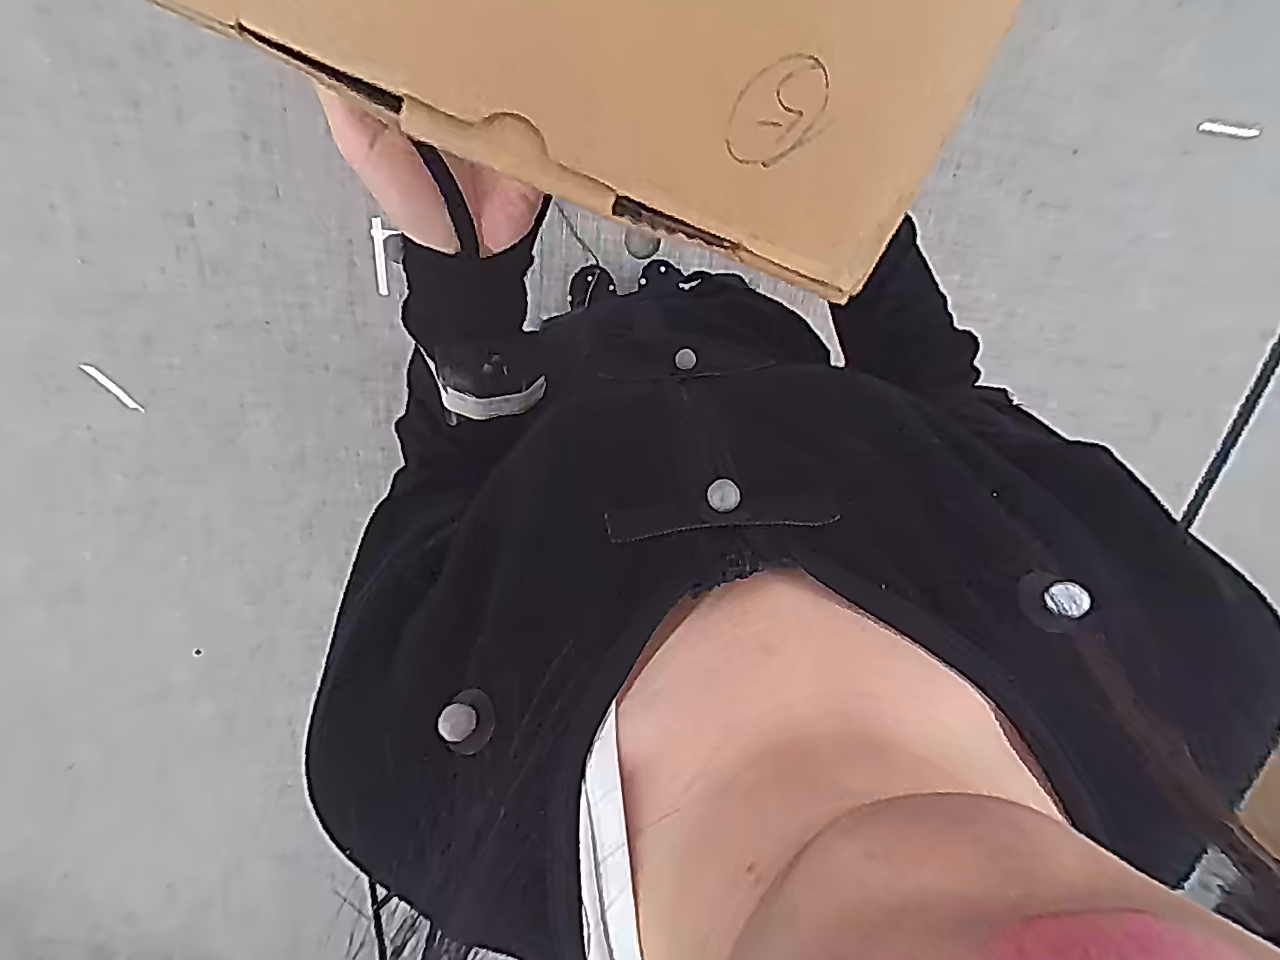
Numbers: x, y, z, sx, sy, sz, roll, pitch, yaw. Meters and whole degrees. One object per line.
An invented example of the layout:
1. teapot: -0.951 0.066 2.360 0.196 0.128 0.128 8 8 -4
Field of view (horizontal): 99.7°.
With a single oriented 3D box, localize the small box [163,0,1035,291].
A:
1. small box: 0.006 -0.177 0.143 0.168 0.176 0.179 17 117 -13
